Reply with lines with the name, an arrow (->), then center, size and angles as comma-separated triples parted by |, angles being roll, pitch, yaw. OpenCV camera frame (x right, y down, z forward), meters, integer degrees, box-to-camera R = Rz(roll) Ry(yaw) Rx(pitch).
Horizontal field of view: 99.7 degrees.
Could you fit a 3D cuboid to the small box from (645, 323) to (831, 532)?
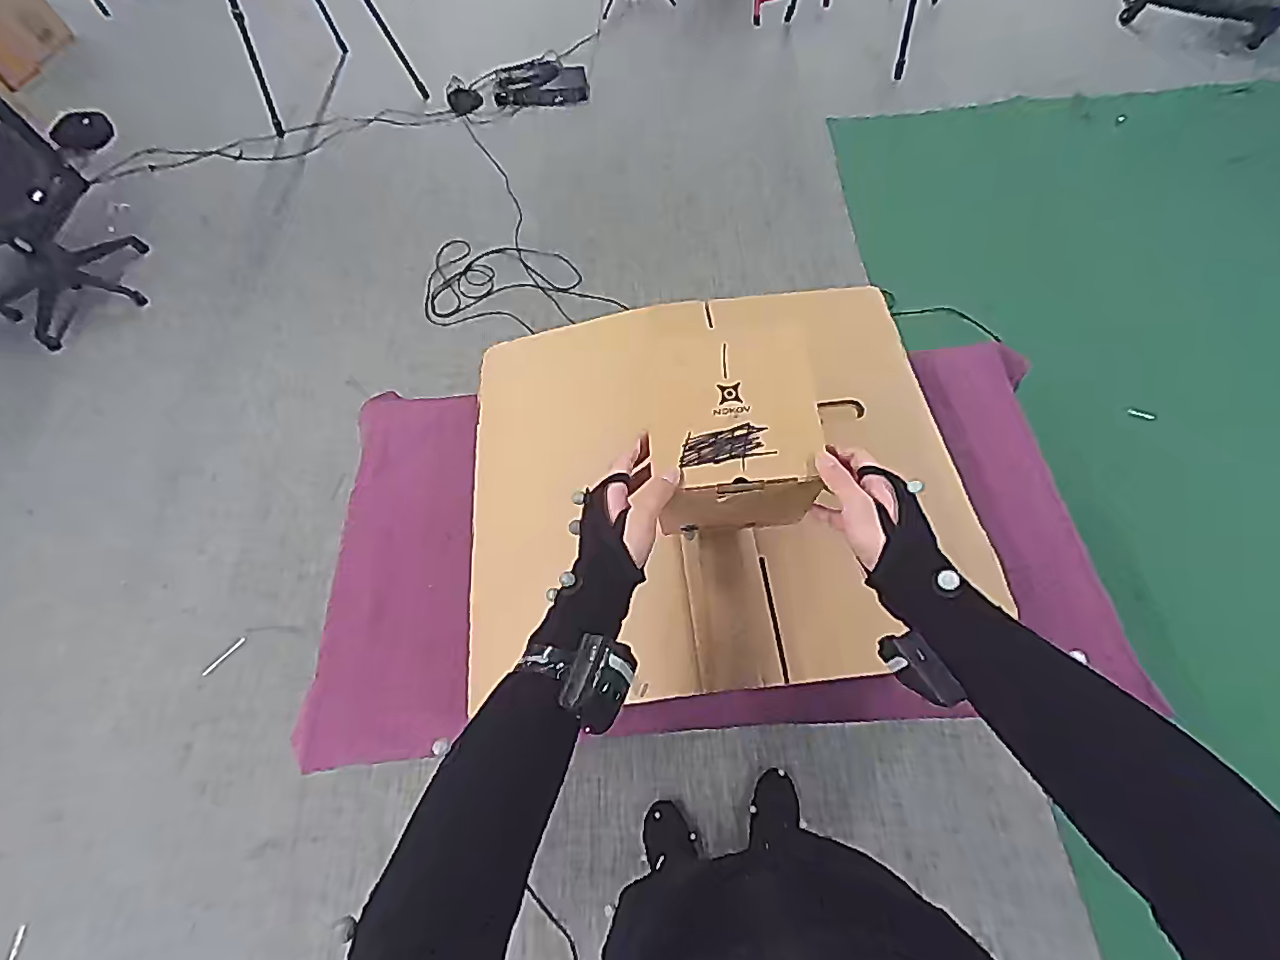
small box -> 0.098, -0.045, 0.599 | 0.168, 0.176, 0.179 | -5, 68, 3
